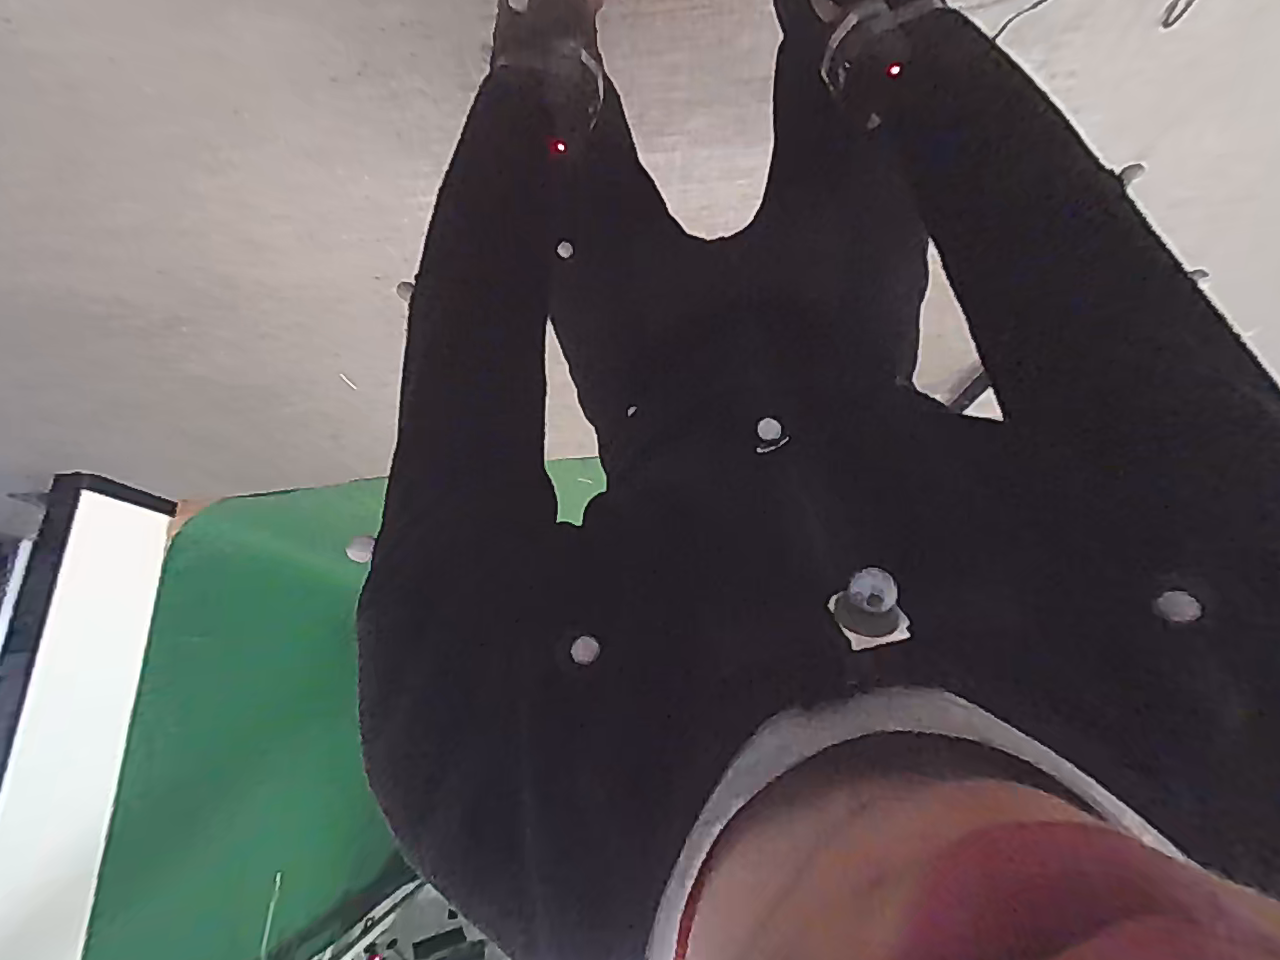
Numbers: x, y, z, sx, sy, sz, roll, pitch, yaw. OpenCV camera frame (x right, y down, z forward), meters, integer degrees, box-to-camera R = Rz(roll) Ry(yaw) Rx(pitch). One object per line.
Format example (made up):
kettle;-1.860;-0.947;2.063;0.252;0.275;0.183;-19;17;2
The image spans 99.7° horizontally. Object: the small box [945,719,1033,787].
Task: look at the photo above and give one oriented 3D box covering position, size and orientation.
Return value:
small box;1.142;0.896;1.787;0.168;0.176;0.179;-8;161;5
